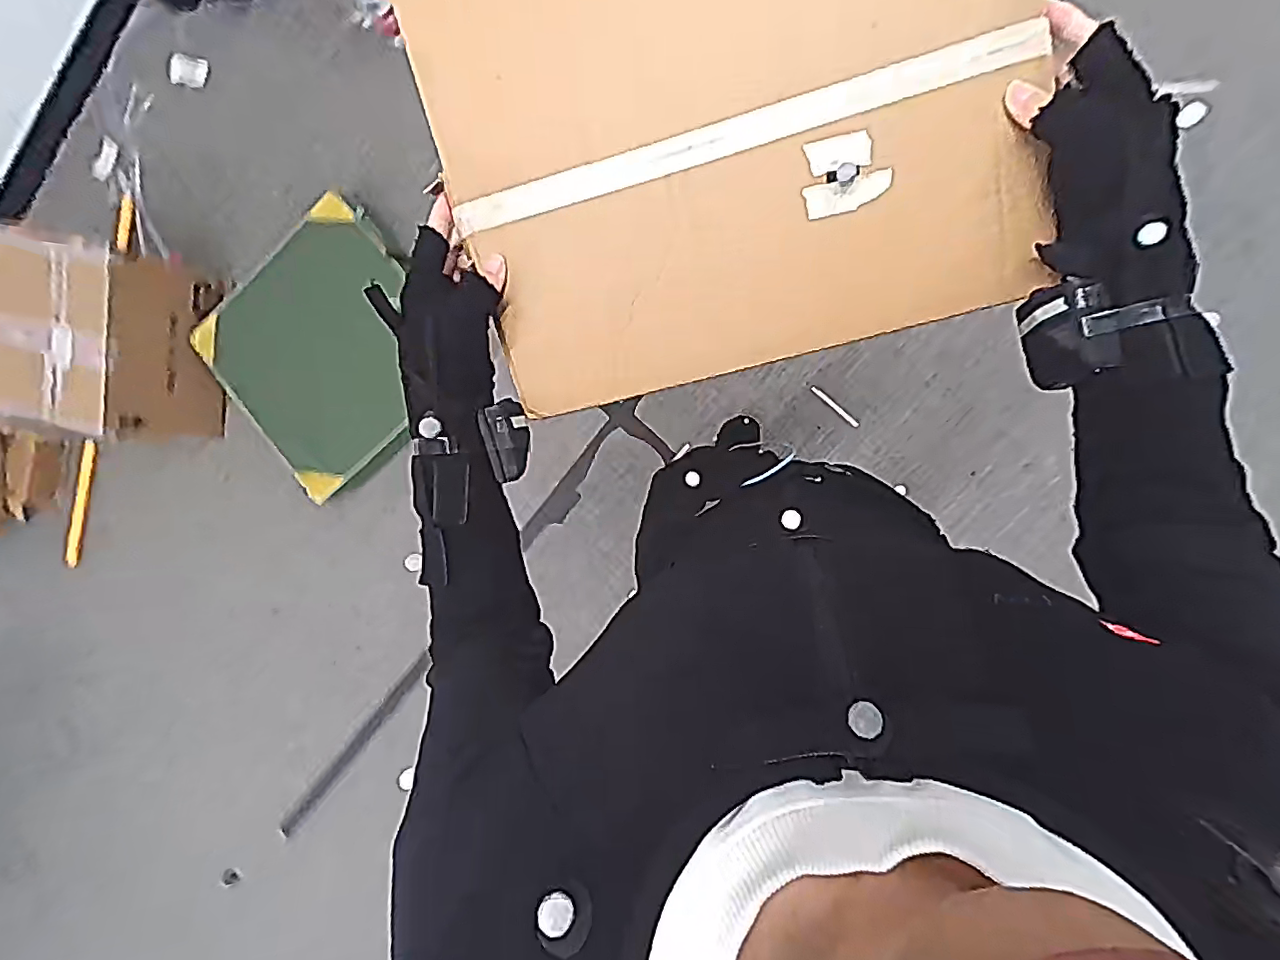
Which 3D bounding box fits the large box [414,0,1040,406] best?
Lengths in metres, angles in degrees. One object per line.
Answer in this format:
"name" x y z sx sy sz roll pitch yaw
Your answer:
"large box" 0.076 -0.287 0.530 0.408 0.320 0.320 -12 106 8
